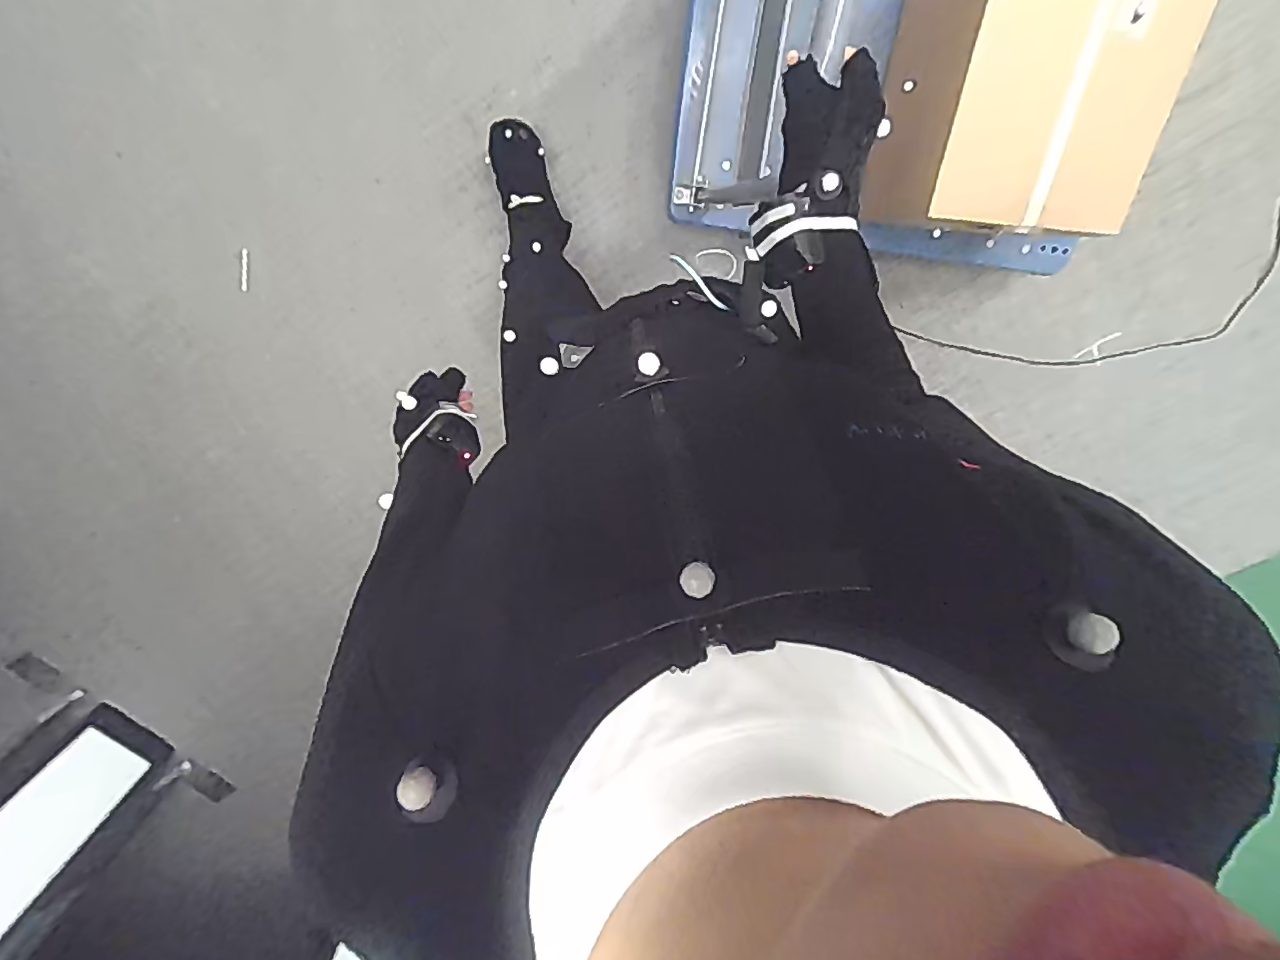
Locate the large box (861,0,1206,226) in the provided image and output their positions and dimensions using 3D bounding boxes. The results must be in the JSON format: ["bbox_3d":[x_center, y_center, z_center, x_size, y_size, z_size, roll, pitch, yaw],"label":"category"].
[{"bbox_3d":[0.611,-0.654,0.896,0.320,0.320,0.408,4,114,-3],"label":"large box"}]
